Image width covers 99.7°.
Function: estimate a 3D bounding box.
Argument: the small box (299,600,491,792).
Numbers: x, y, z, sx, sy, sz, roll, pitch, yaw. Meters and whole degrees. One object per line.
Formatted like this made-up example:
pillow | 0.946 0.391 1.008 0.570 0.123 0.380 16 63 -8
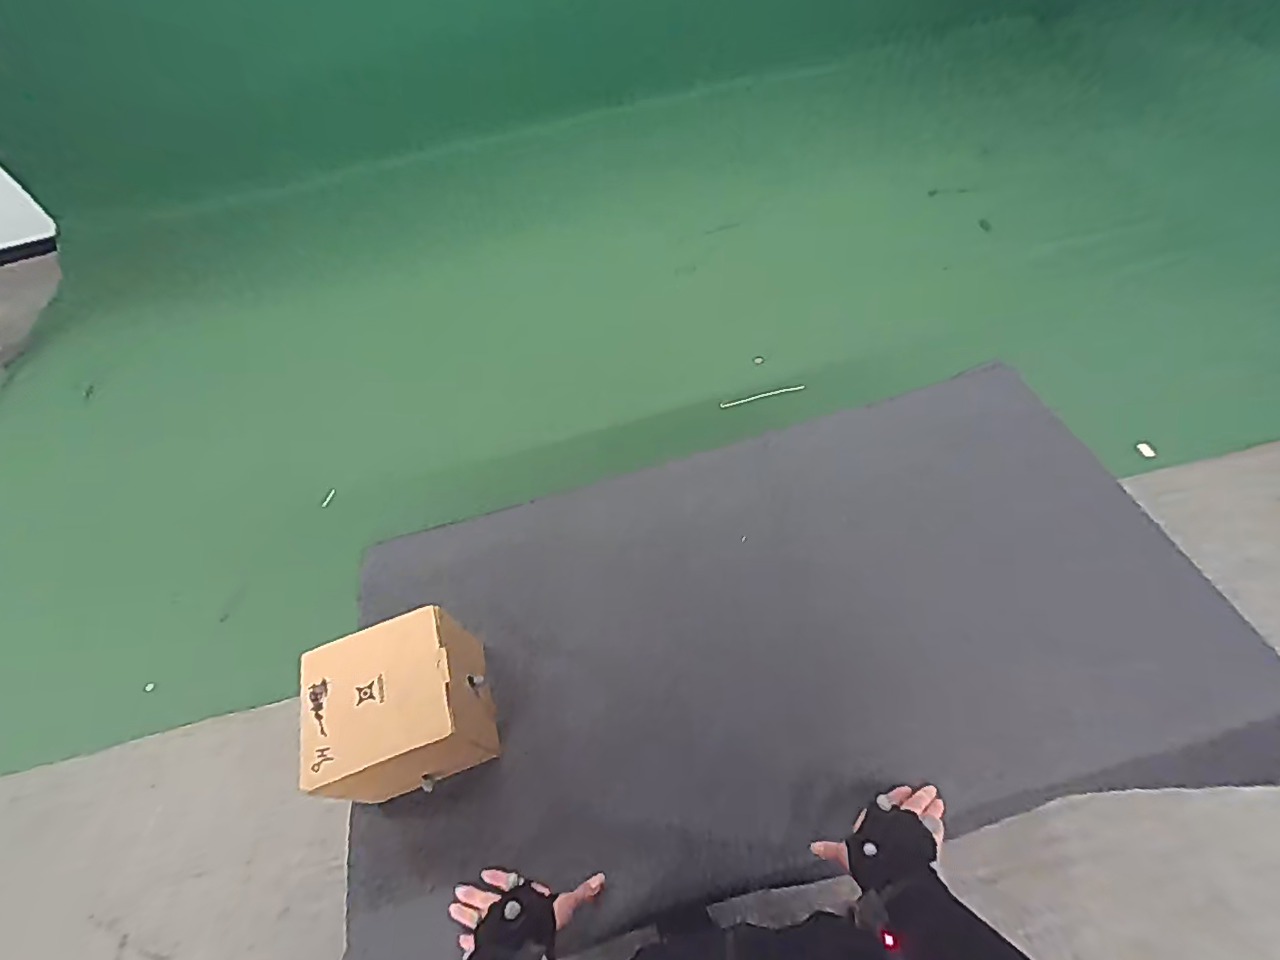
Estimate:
small box | -0.306 0.285 0.703 0.179 0.176 0.168 -19 56 -6
